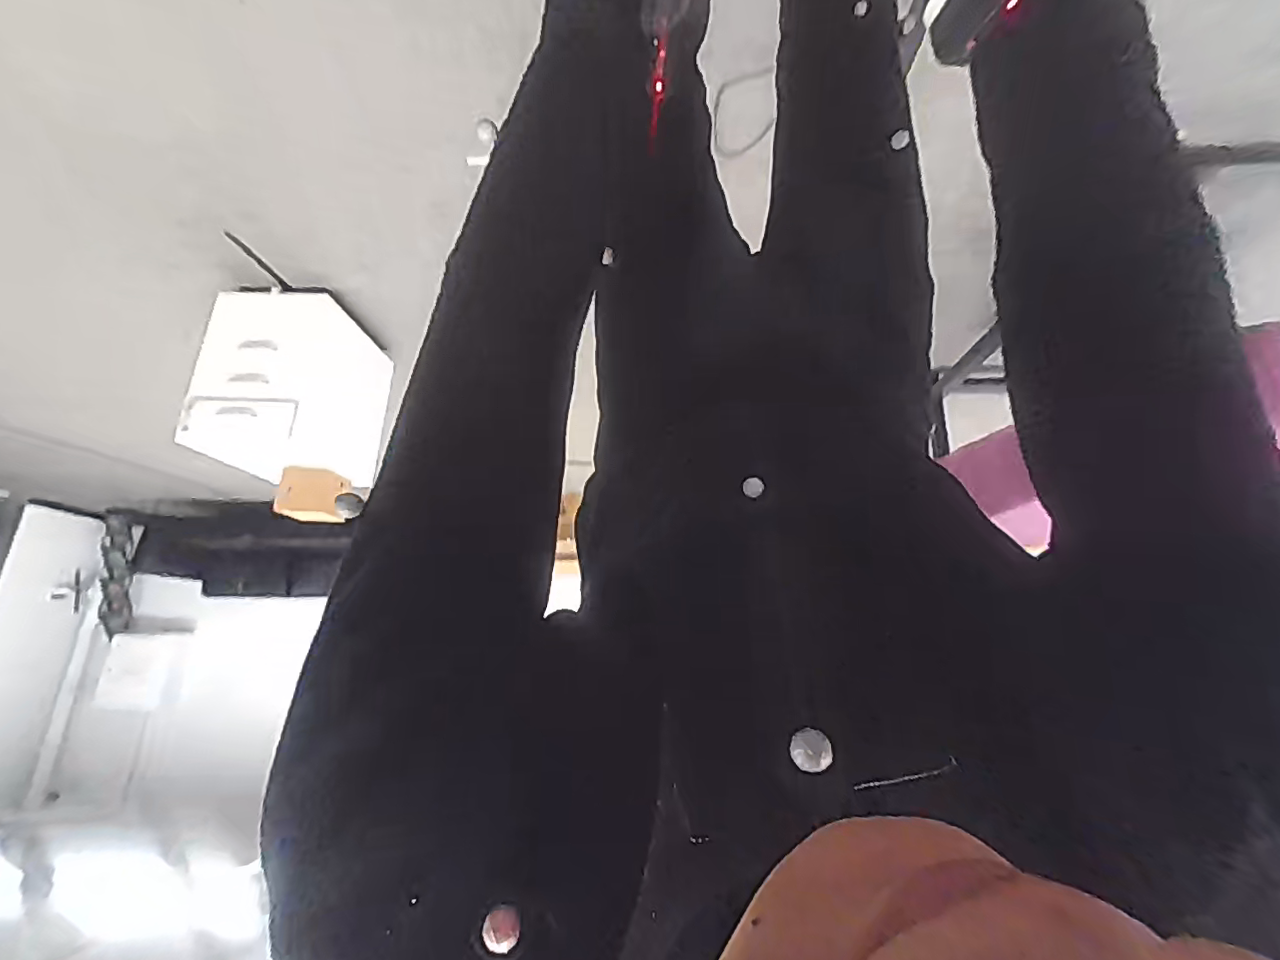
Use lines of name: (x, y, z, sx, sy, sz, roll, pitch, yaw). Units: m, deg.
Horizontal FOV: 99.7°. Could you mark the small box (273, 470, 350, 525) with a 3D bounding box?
small box: (-1.226, 0.066, 2.034, 0.179, 0.176, 0.168, 2, 164, 1)
